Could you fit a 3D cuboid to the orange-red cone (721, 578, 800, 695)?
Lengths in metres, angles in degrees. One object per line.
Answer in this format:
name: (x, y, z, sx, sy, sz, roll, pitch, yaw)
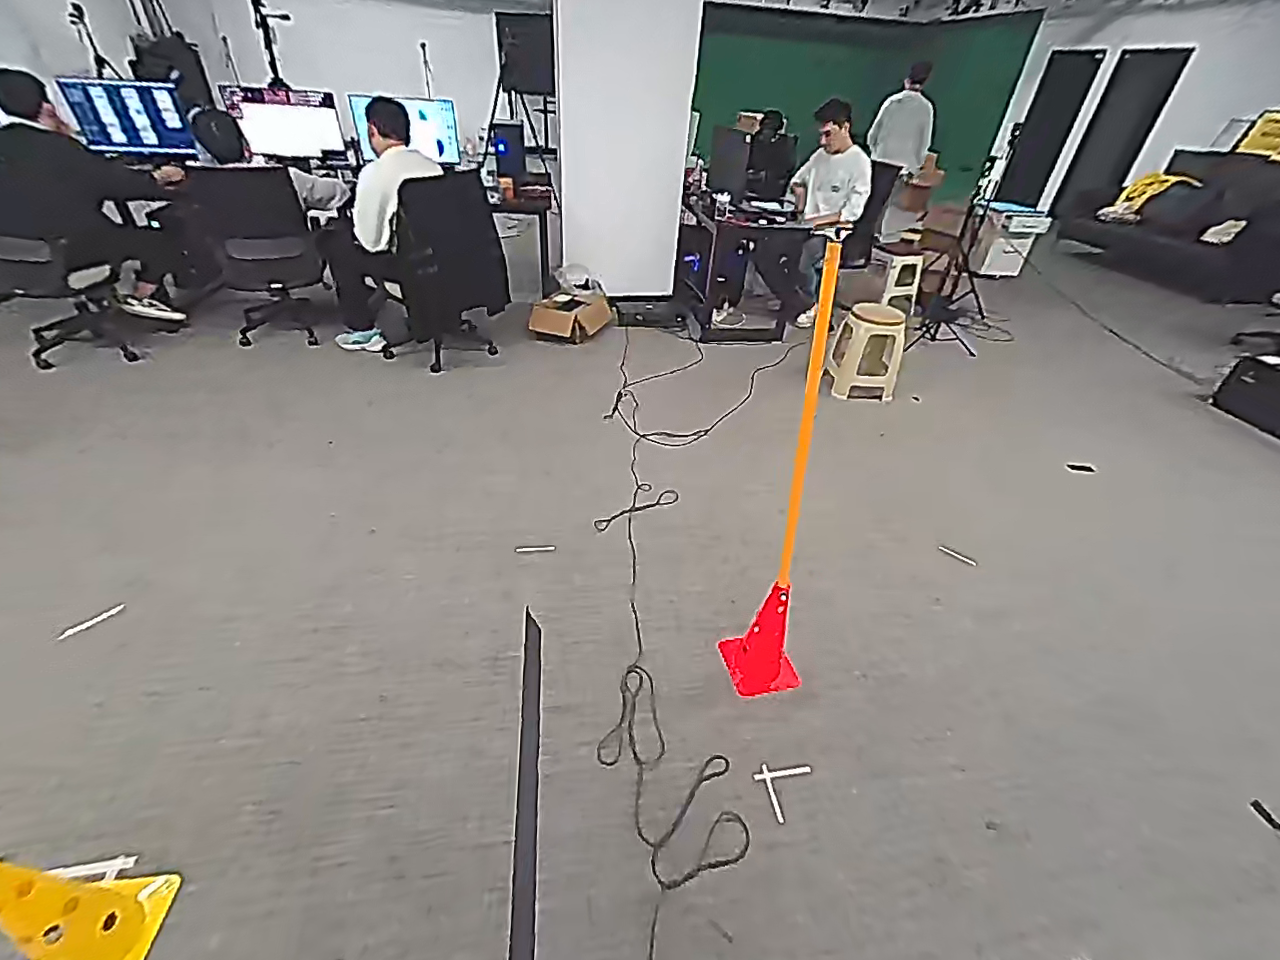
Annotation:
orange-red cone: (0.368, 0.414, 1.527, 0.199, 0.360, 0.198, -6, 37, -11)
